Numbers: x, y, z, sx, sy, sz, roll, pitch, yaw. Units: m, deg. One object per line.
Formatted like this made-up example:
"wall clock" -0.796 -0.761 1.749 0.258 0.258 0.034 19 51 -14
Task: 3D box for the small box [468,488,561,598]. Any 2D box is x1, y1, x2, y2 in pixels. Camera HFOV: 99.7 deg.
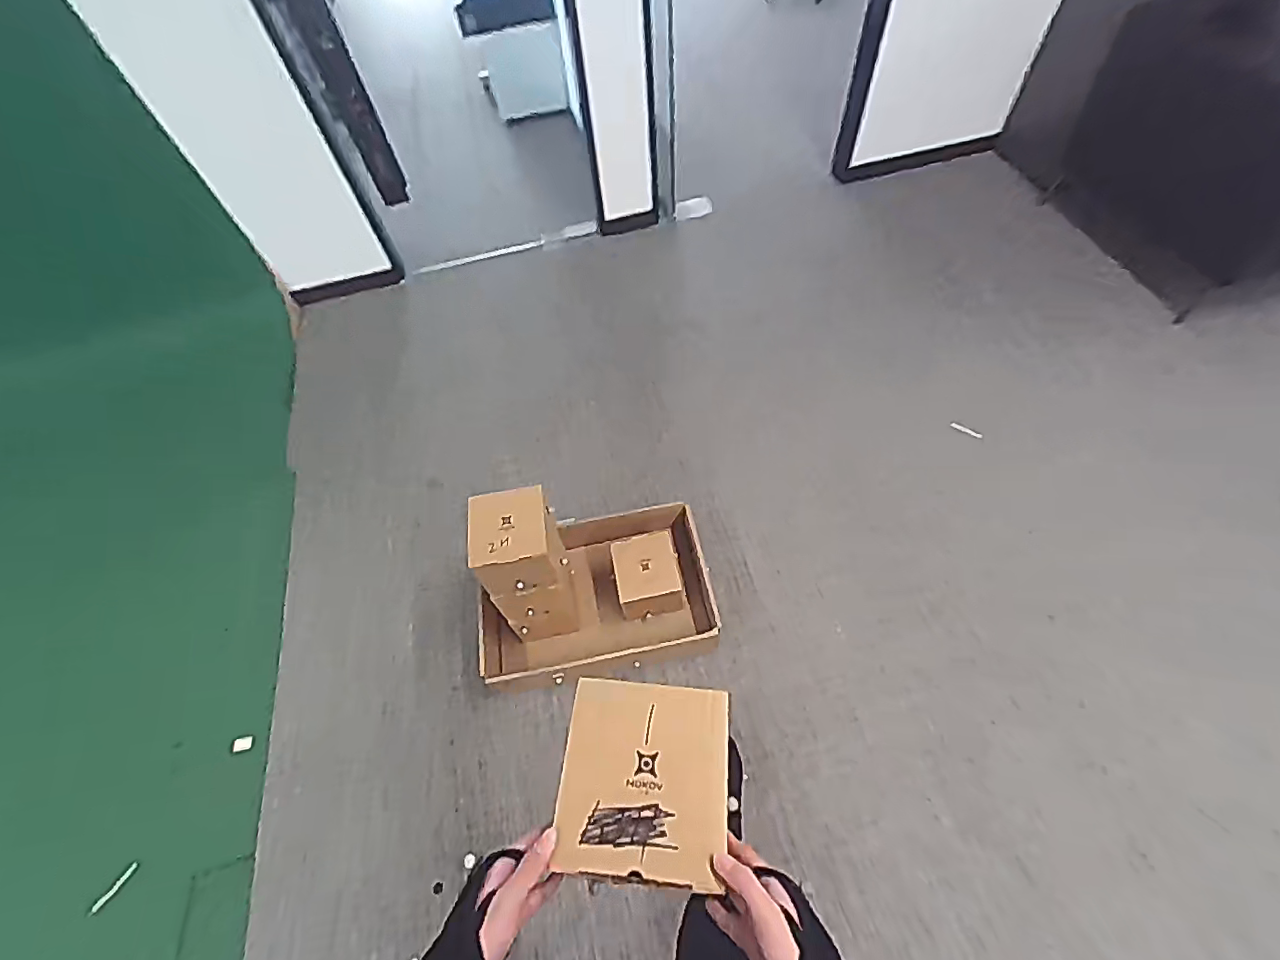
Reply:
"small box" -0.278 0.144 1.218 0.168 0.176 0.179 -10 57 -2

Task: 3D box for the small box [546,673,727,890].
"small box" 0.007 0.335 0.599 0.168 0.176 0.179 4 51 6

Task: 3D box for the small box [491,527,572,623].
"small box" -0.270 0.238 1.353 0.168 0.176 0.179 -10 57 -2

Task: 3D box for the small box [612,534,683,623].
"small box" 0.022 0.275 1.496 0.168 0.176 0.179 -12 58 -1
